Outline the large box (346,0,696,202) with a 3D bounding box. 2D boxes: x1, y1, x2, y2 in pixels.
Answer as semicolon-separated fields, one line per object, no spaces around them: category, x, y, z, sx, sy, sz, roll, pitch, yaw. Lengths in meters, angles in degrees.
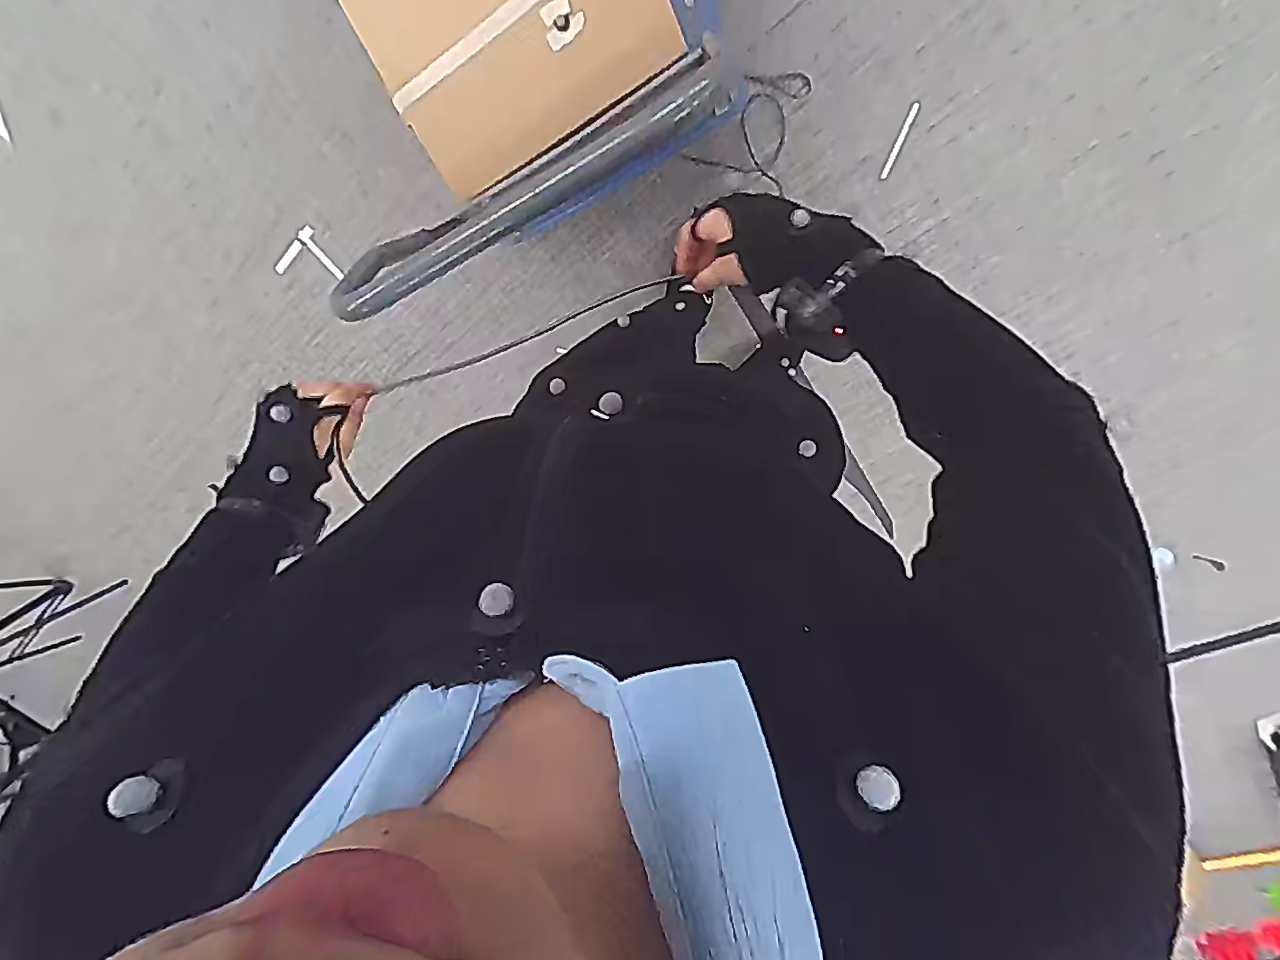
large box;-0.157;-0.705;0.871;0.408;0.320;0.320;-22;115;19
